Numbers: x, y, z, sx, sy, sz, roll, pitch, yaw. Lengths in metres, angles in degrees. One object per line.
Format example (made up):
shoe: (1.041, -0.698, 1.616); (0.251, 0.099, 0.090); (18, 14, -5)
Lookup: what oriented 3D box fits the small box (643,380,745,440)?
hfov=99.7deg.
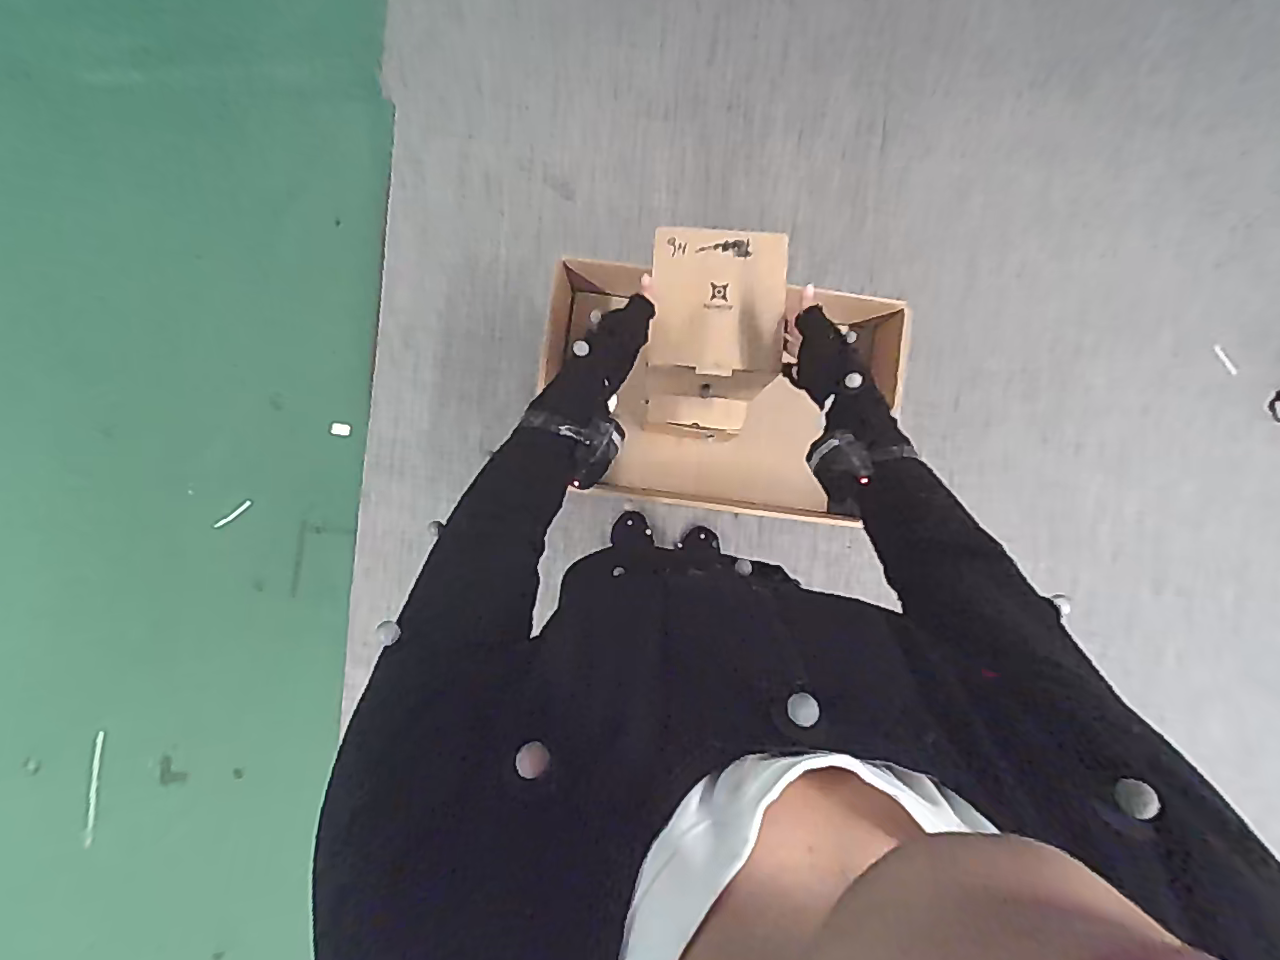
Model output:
small box: (0.096, -0.172, 0.977); (0.168, 0.176, 0.179); (7, 88, -2)

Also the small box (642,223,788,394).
small box: (0.092, -0.218, 0.732); (0.168, 0.176, 0.179); (4, 88, 0)
